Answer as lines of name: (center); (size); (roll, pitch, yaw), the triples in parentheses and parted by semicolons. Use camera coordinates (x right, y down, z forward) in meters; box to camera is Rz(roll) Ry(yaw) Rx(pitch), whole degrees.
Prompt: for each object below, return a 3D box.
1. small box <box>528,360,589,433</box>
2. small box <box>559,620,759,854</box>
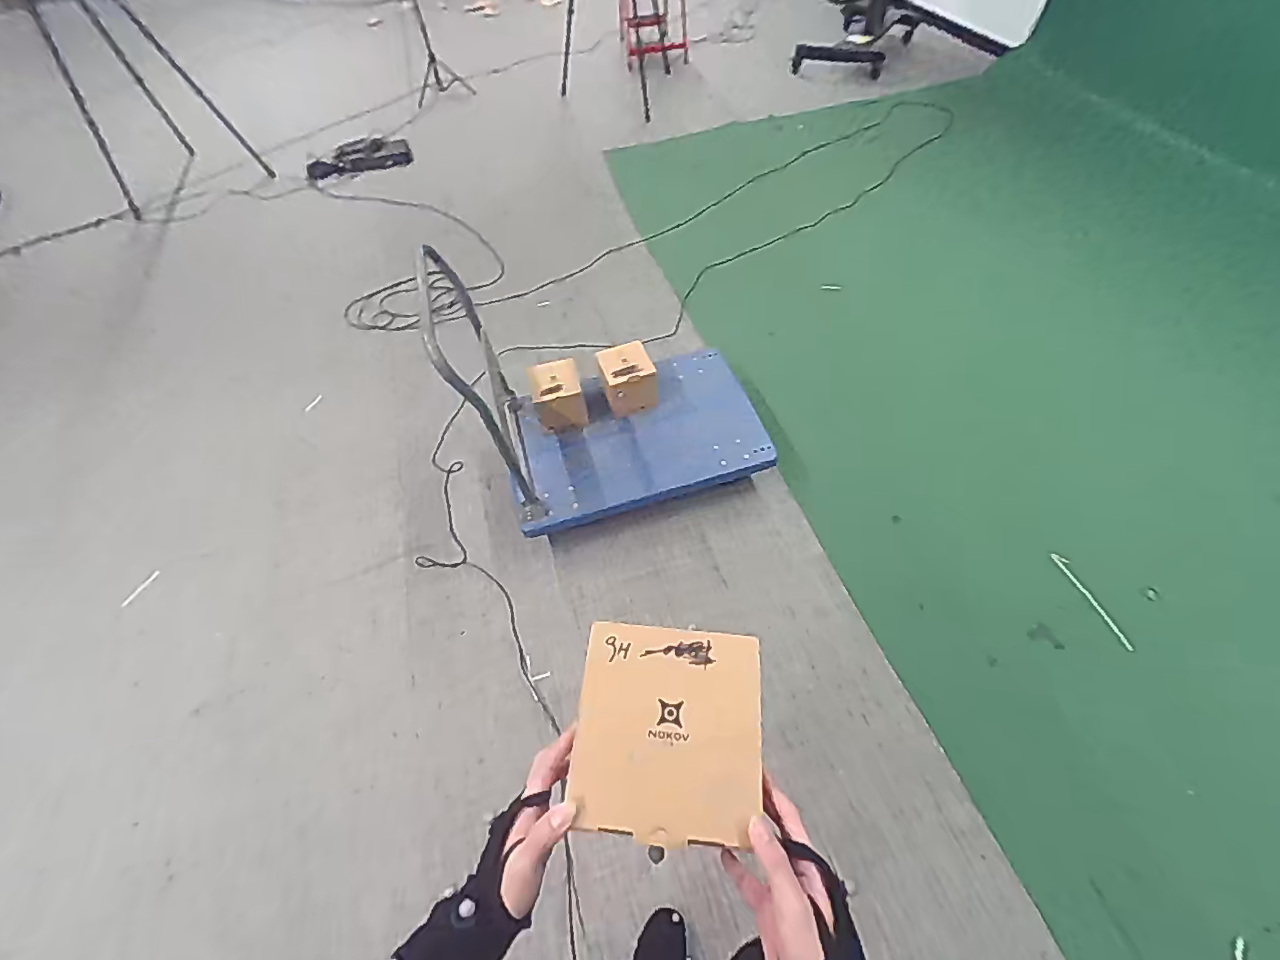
small box: (-0.276, -0.278, 1.853); (0.168, 0.176, 0.179); (-13, 54, -6)
small box: (0.025, 0.260, 0.549); (0.168, 0.176, 0.179); (5, 58, 4)
